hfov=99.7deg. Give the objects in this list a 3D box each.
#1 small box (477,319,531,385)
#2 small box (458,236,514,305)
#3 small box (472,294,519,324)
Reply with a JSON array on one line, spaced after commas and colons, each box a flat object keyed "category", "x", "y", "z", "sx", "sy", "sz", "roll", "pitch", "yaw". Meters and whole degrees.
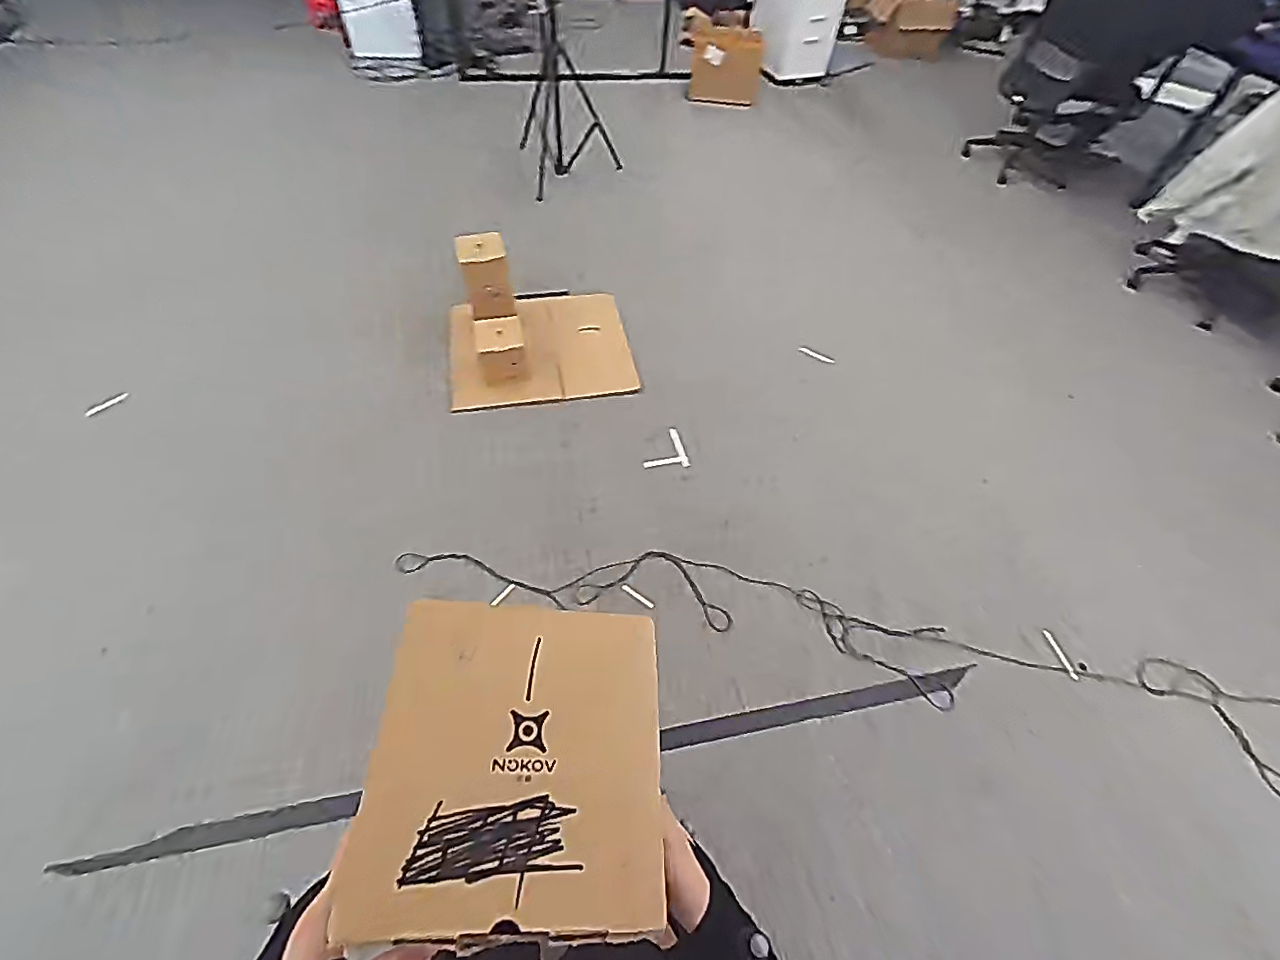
[{"category": "small box", "x": -0.502, "y": -0.467, "z": 2.005, "sx": 0.168, "sy": 0.176, "sz": 0.179, "roll": -10, "pitch": 55, "yaw": -11}, {"category": "small box", "x": -0.576, "y": -0.787, "z": 2.029, "sx": 0.168, "sy": 0.176, "sz": 0.179, "roll": -13, "pitch": 56, "yaw": -12}, {"category": "small box", "x": -0.580, "y": -0.689, "z": 2.161, "sx": 0.168, "sy": 0.176, "sz": 0.179, "roll": -14, "pitch": 57, "yaw": -14}]
